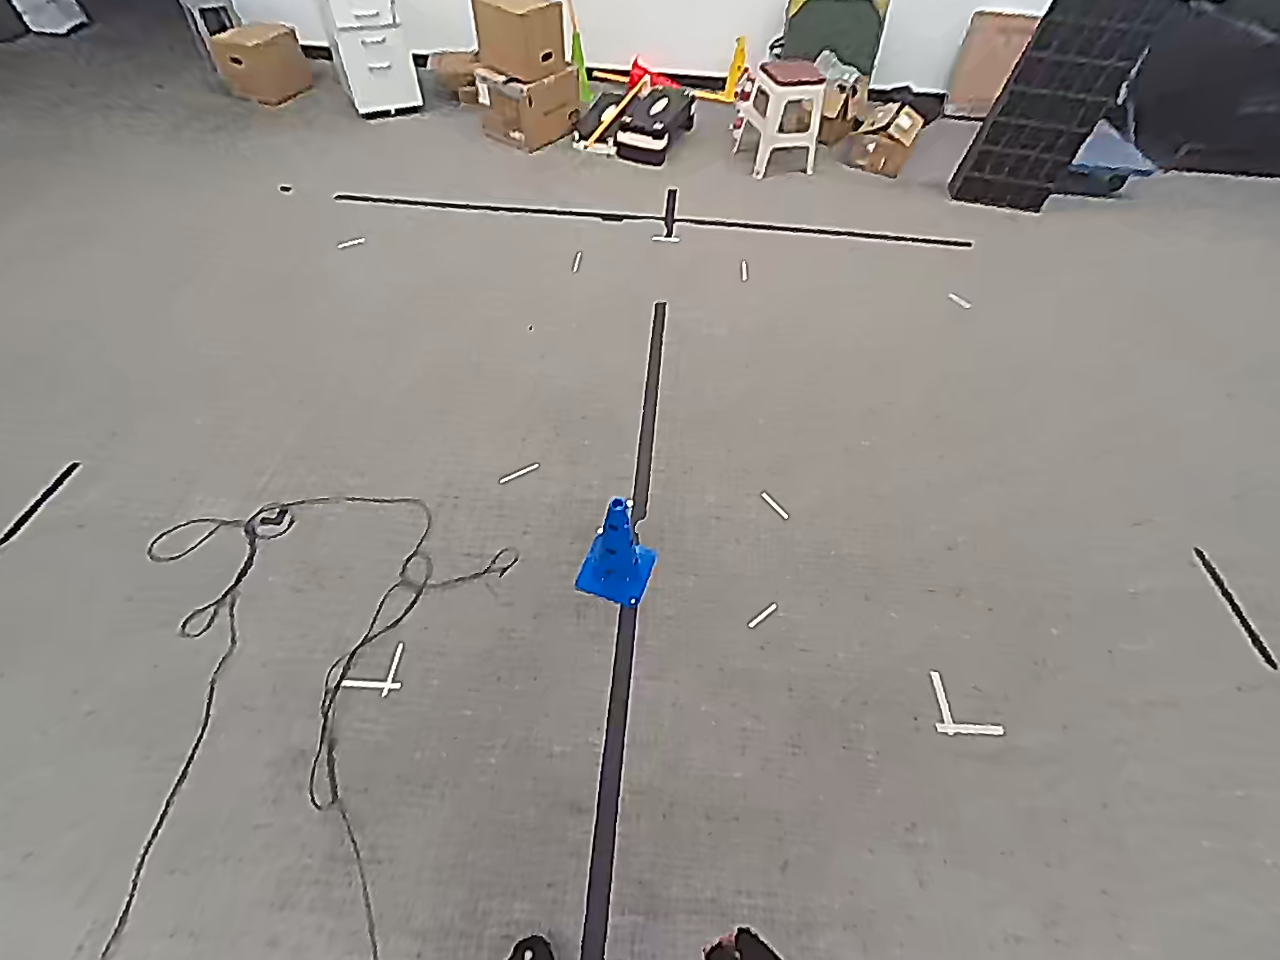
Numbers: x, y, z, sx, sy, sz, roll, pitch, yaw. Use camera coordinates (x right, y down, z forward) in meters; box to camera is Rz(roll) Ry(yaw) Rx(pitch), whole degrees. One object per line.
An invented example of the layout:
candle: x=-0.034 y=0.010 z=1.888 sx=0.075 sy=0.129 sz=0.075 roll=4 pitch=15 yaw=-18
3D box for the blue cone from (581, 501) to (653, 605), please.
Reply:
blue cone: x=-0.059 y=0.174 z=1.493 sx=0.192 sy=0.380 sz=0.193 roll=19 pitch=54 yaw=9
